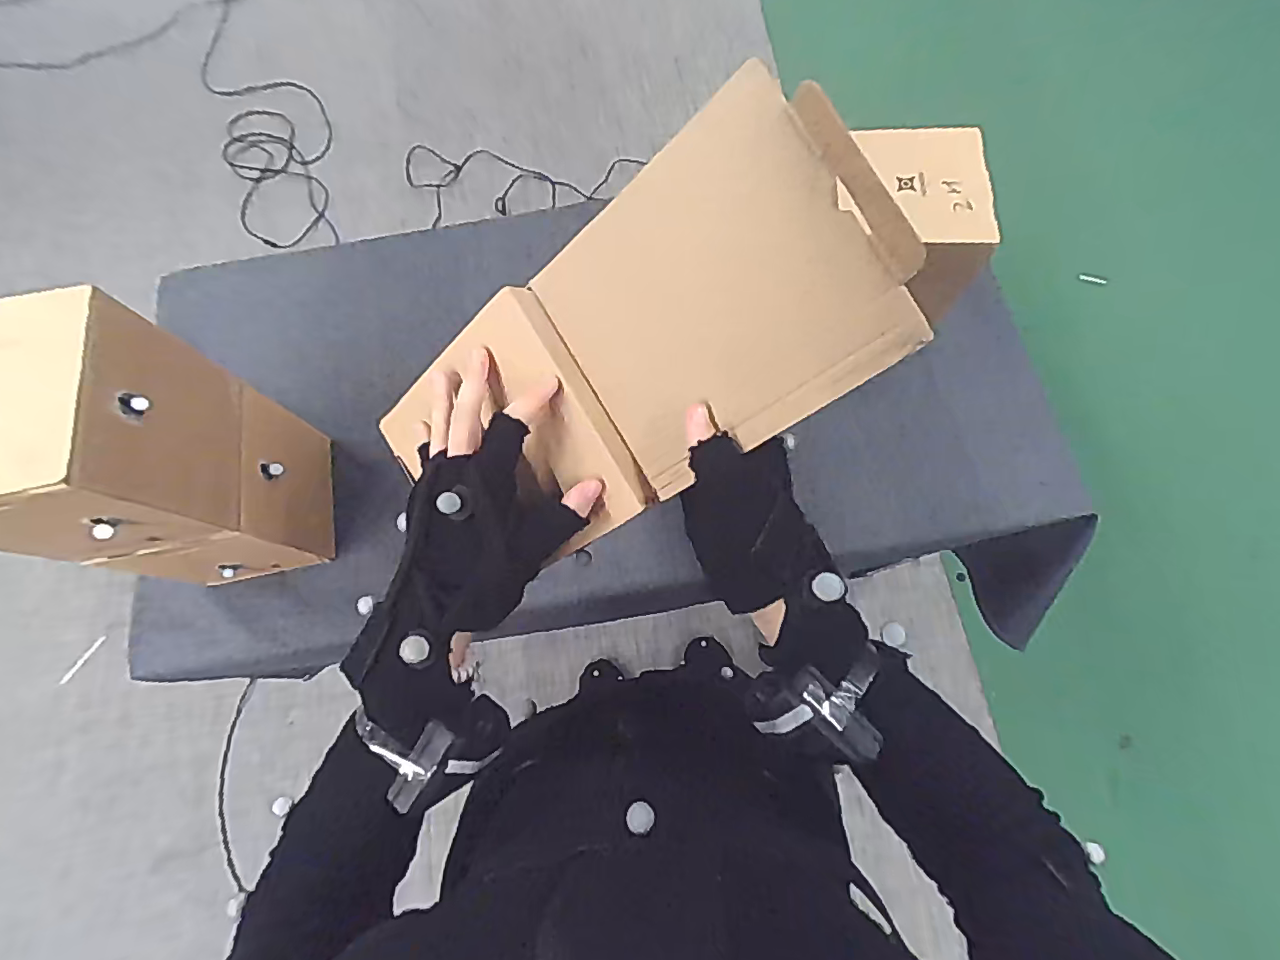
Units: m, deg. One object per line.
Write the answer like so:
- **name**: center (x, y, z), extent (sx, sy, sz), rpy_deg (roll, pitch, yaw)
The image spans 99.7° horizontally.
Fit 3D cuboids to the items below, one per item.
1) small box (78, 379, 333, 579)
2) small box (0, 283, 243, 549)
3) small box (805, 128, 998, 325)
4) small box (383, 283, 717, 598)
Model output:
- **small box**: center (-0.490, 0.008, 0.640), extent (0.168, 0.176, 0.179), rpy_deg (-12, 73, -1)
- **small box**: center (-0.498, -0.041, 0.485), extent (0.168, 0.176, 0.179), rpy_deg (-10, 72, -2)
- **small box**: center (0.316, -0.316, 0.699), extent (0.179, 0.176, 0.168), rpy_deg (2, 74, 3)
- **small box**: center (-0.062, -0.033, 0.449), extent (0.179, 0.176, 0.168), rpy_deg (-32, 89, 26)
